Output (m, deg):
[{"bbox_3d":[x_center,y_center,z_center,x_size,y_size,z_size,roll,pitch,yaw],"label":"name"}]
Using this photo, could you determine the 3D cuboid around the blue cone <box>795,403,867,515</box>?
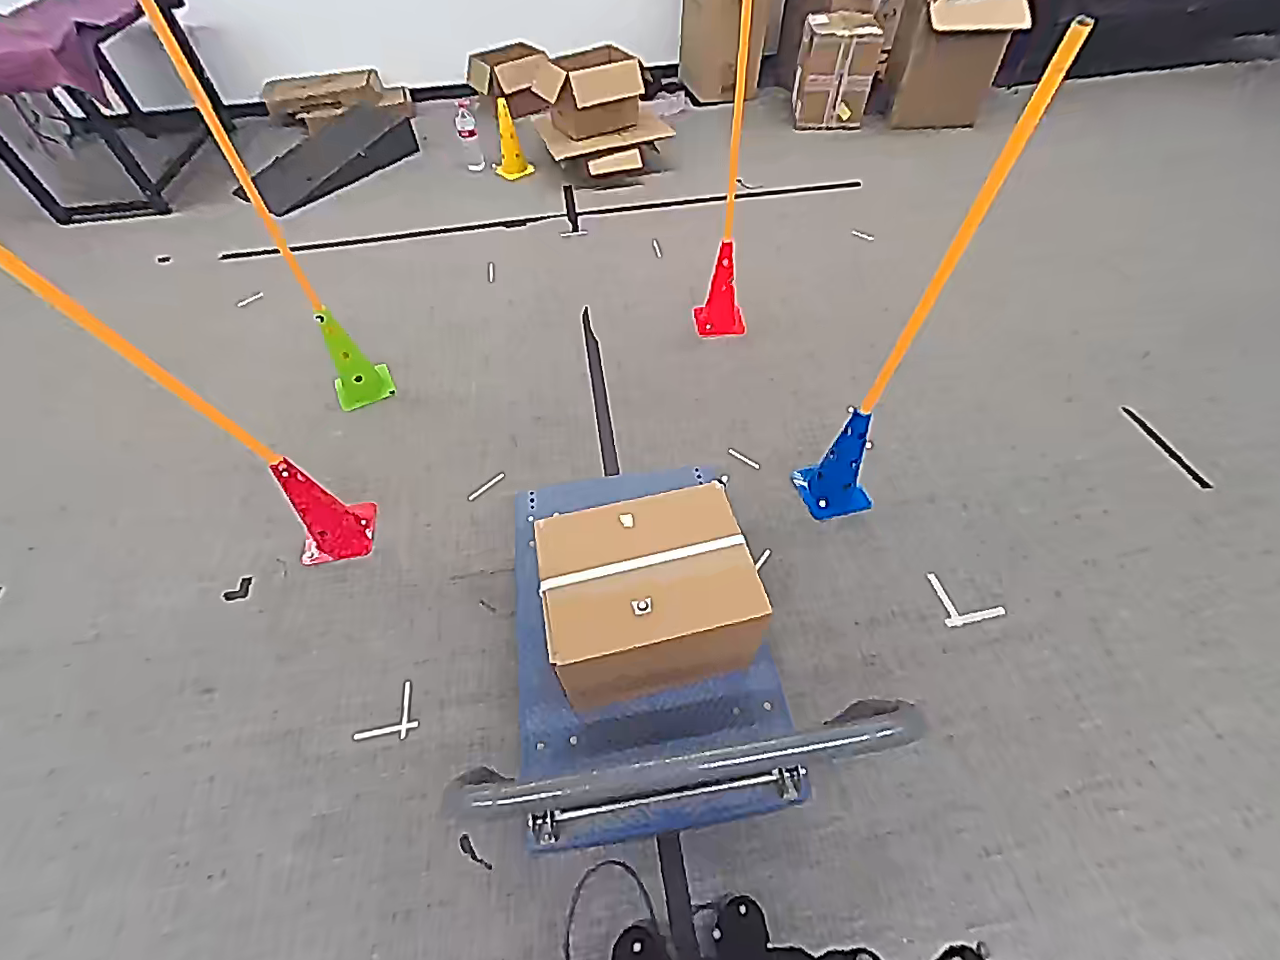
[{"bbox_3d":[0.609,-0.074,1.610,0.193,0.380,0.192,-11,52,-7],"label":"blue cone"}]

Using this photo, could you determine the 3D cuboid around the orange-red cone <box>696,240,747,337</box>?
[{"bbox_3d":[0.337,-0.770,2.131,0.199,0.360,0.198,-3,53,-1],"label":"orange-red cone"}]
